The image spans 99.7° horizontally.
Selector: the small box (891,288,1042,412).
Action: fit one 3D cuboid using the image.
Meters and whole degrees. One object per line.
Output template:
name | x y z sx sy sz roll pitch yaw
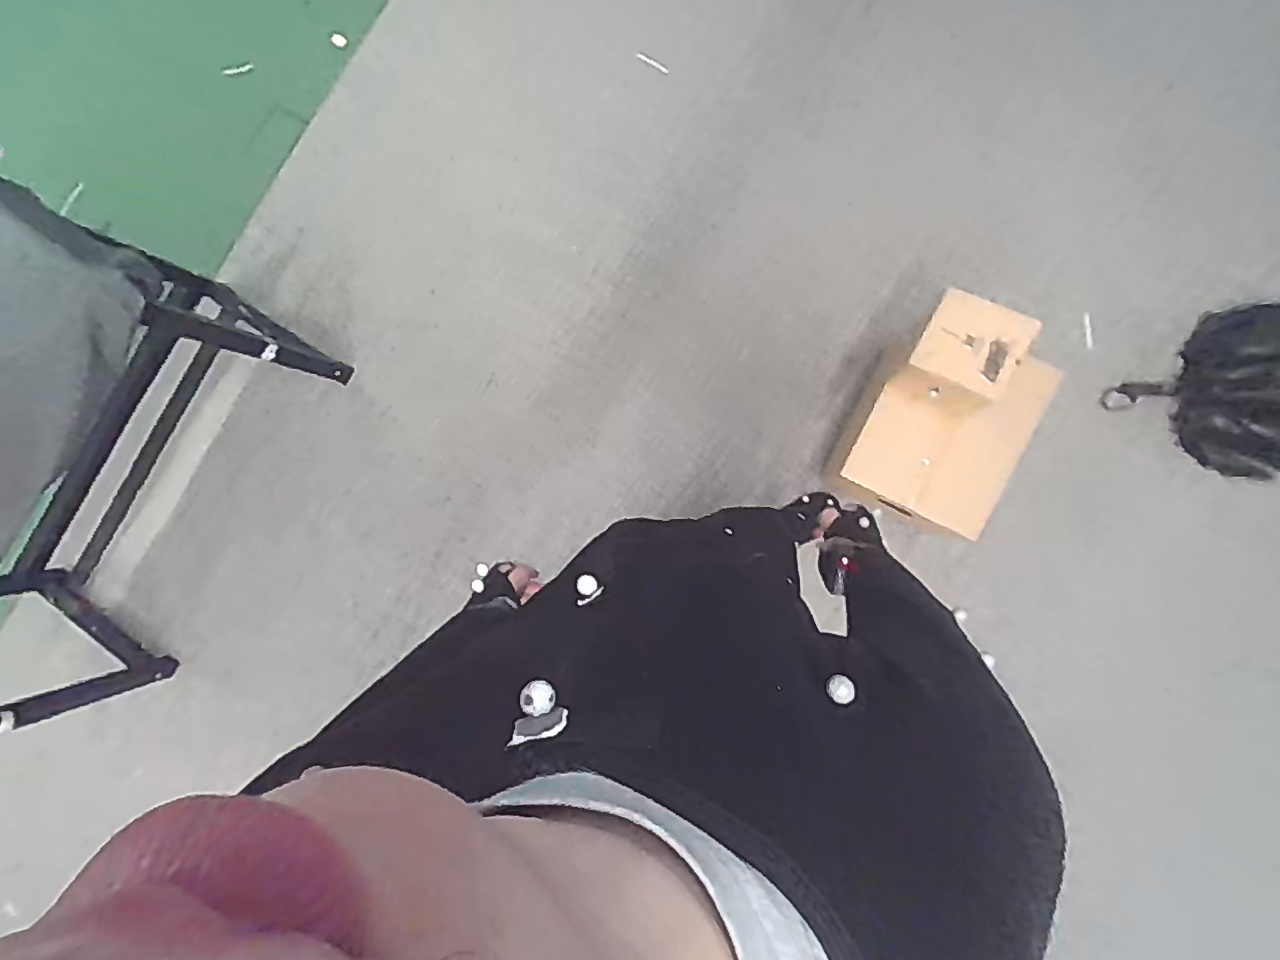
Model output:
small box | 0.640 -0.249 1.084 0.179 0.176 0.168 29 93 13
